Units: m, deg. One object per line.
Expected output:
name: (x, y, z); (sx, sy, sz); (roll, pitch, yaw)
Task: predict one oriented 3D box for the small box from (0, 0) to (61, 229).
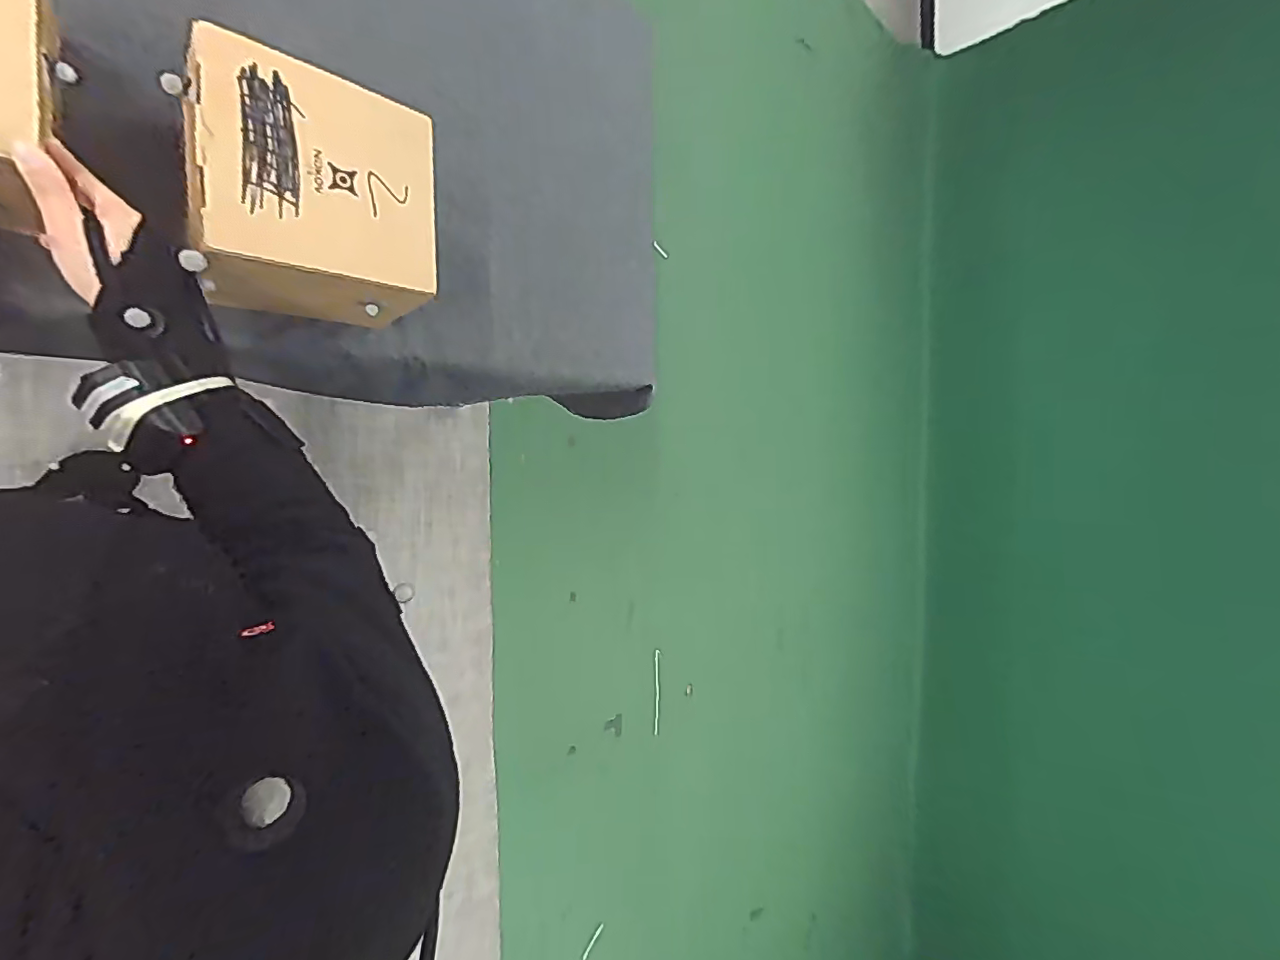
small box: (-0.492, -0.286, 0.340); (0.168, 0.176, 0.179); (-2, 92, -44)
